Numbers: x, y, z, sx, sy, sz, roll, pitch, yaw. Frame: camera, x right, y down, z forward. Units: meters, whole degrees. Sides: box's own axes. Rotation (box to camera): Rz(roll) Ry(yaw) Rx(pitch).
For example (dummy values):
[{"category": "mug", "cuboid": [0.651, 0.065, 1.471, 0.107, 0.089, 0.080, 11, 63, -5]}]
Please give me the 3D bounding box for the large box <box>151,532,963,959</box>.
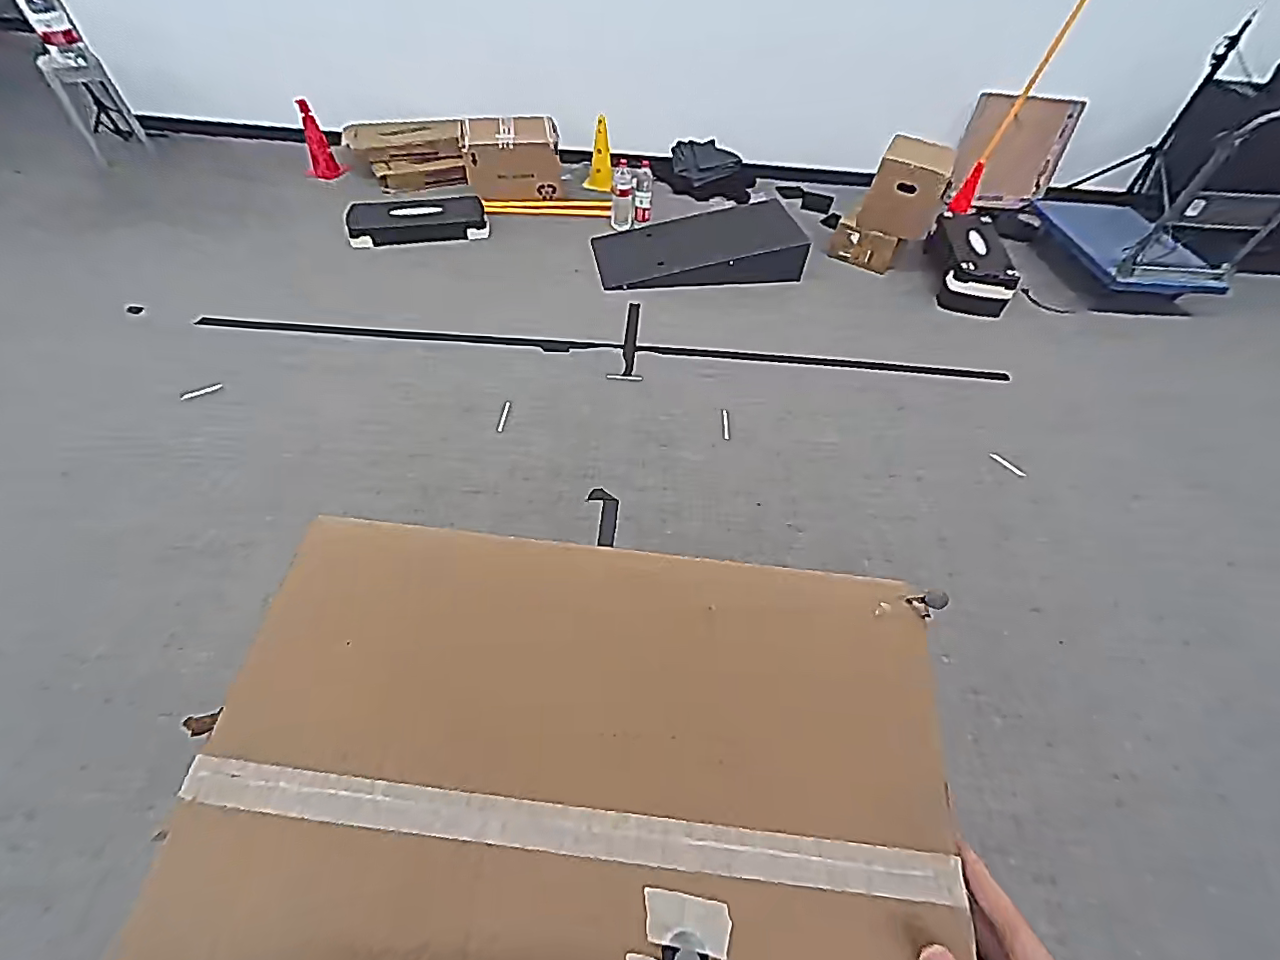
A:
[{"category": "large box", "cuboid": [-0.037, 0.258, 0.424, 0.408, 0.320, 0.320, 6, 62, 2]}]
